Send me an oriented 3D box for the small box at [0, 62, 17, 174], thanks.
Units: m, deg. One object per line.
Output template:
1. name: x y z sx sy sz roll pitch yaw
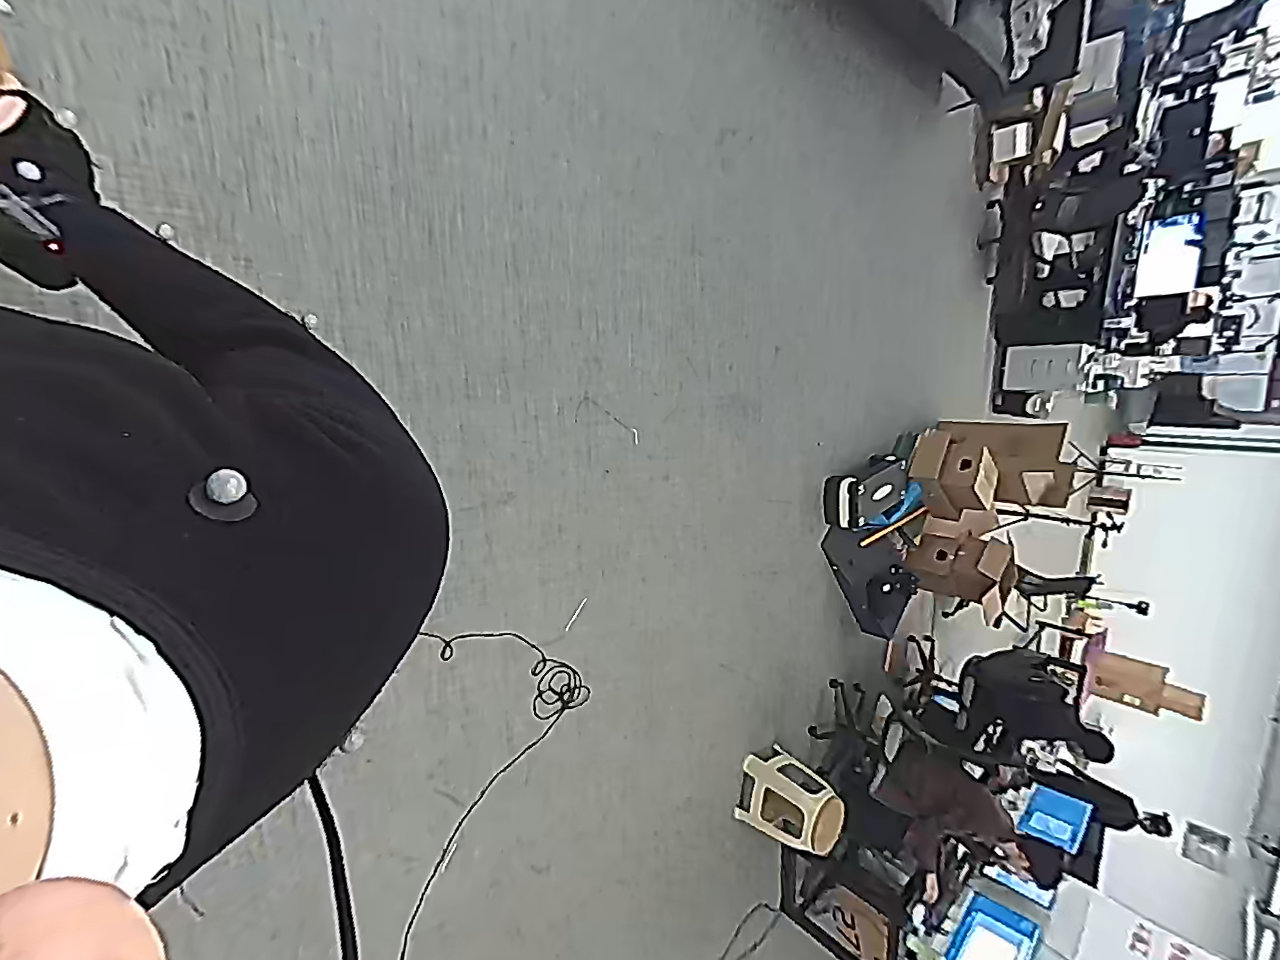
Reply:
1. small box: -0.650 -0.384 0.431 0.168 0.176 0.179 -11 96 -40
